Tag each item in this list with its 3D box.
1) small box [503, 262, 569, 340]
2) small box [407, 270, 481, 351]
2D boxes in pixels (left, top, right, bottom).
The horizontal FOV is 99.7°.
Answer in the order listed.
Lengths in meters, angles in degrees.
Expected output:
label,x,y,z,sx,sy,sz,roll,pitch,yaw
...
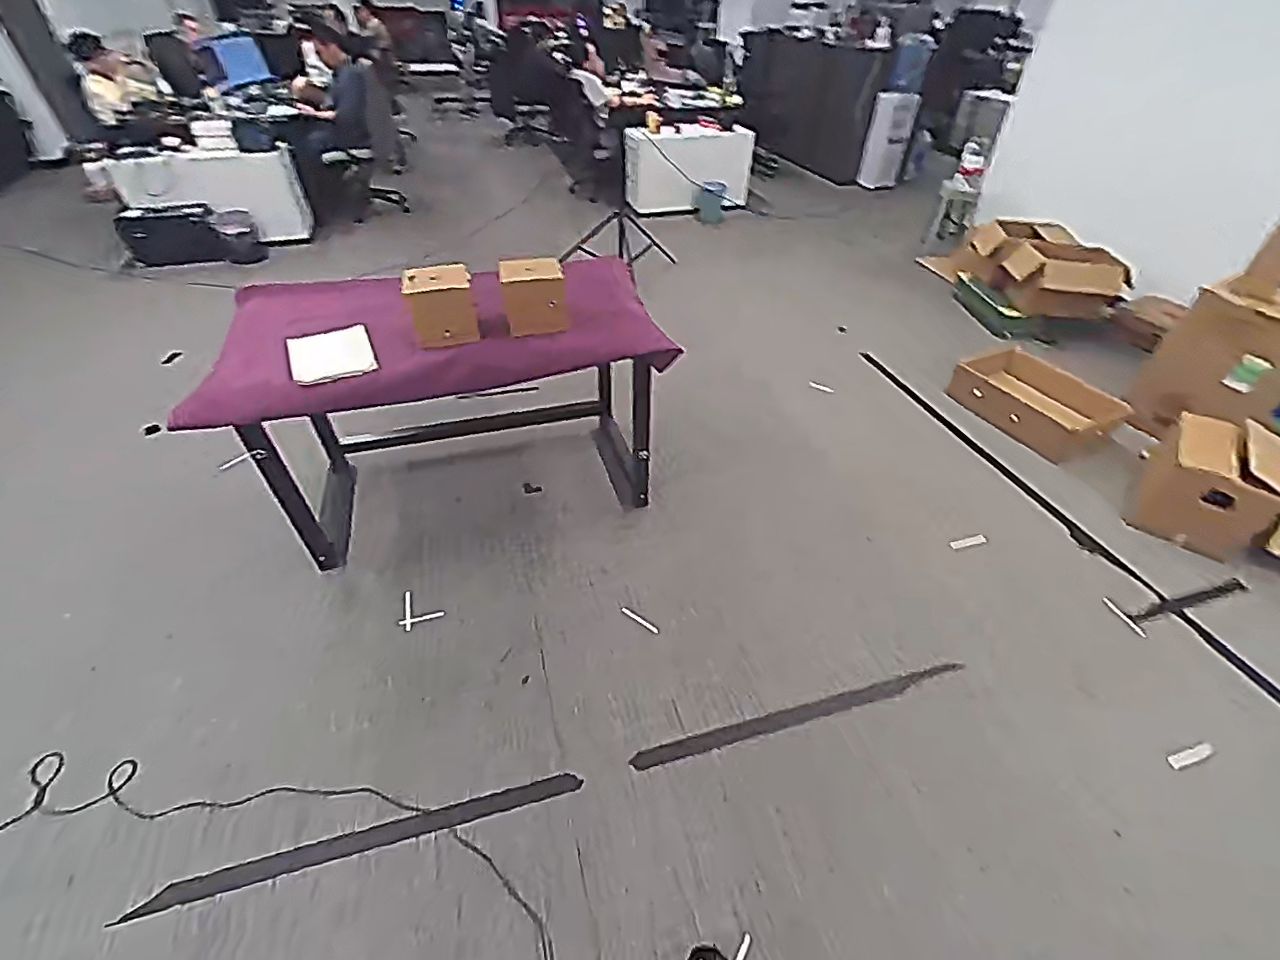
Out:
label,x,y,z,sx,sy,sz,roll,pitch,yaw
small box,-0.311,-0.541,1.635,0.179,0.176,0.168,-10,41,-9
small box,-0.566,-0.494,1.577,0.179,0.176,0.168,-10,43,-13
